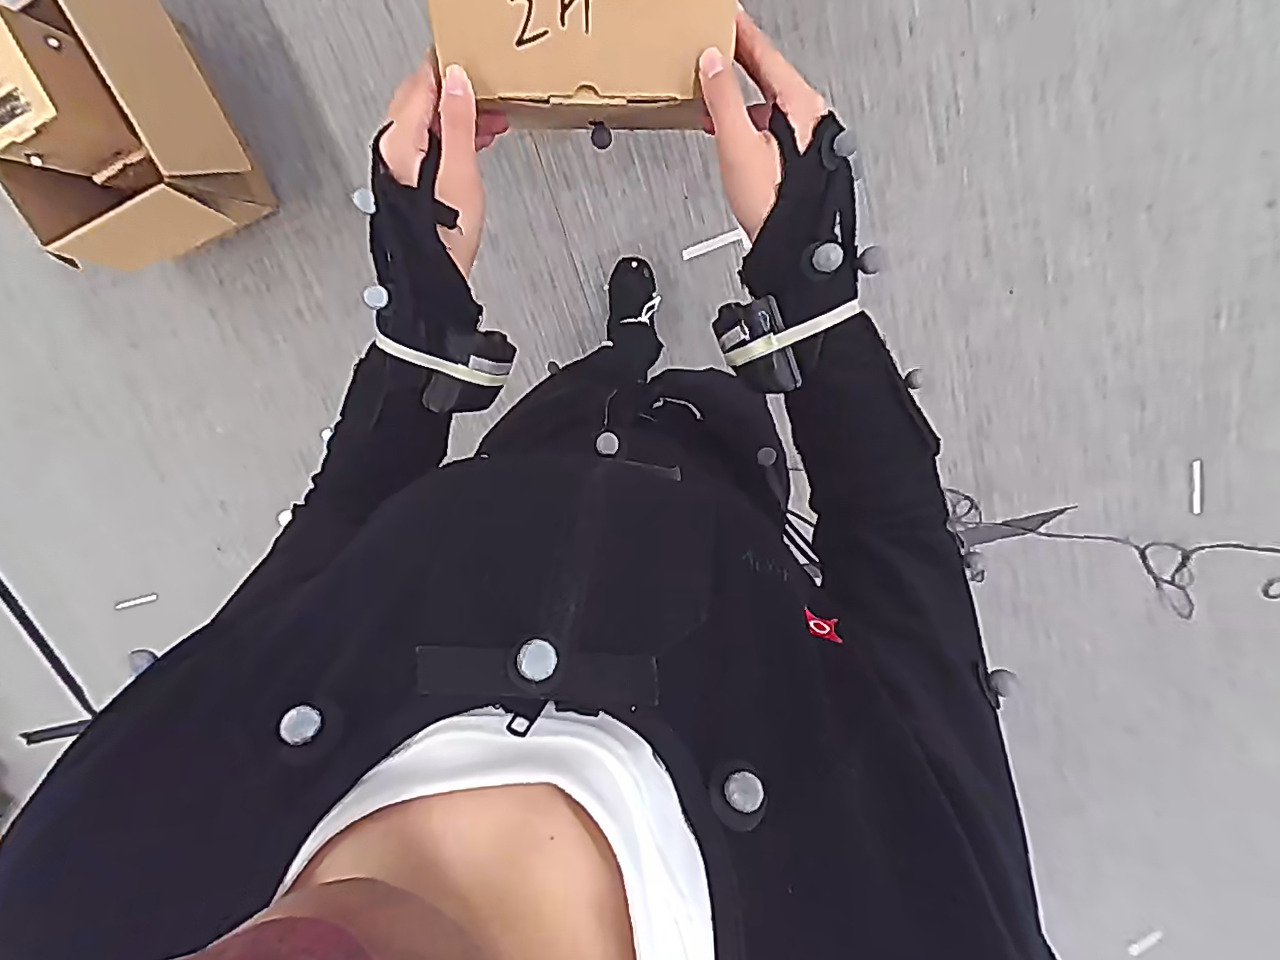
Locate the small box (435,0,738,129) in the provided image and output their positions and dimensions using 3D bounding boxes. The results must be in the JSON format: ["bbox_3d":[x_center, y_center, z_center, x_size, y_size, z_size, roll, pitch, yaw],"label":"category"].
[{"bbox_3d":[-0.028,-0.336,0.341,0.168,0.176,0.179,1,118,1],"label":"small box"}]
